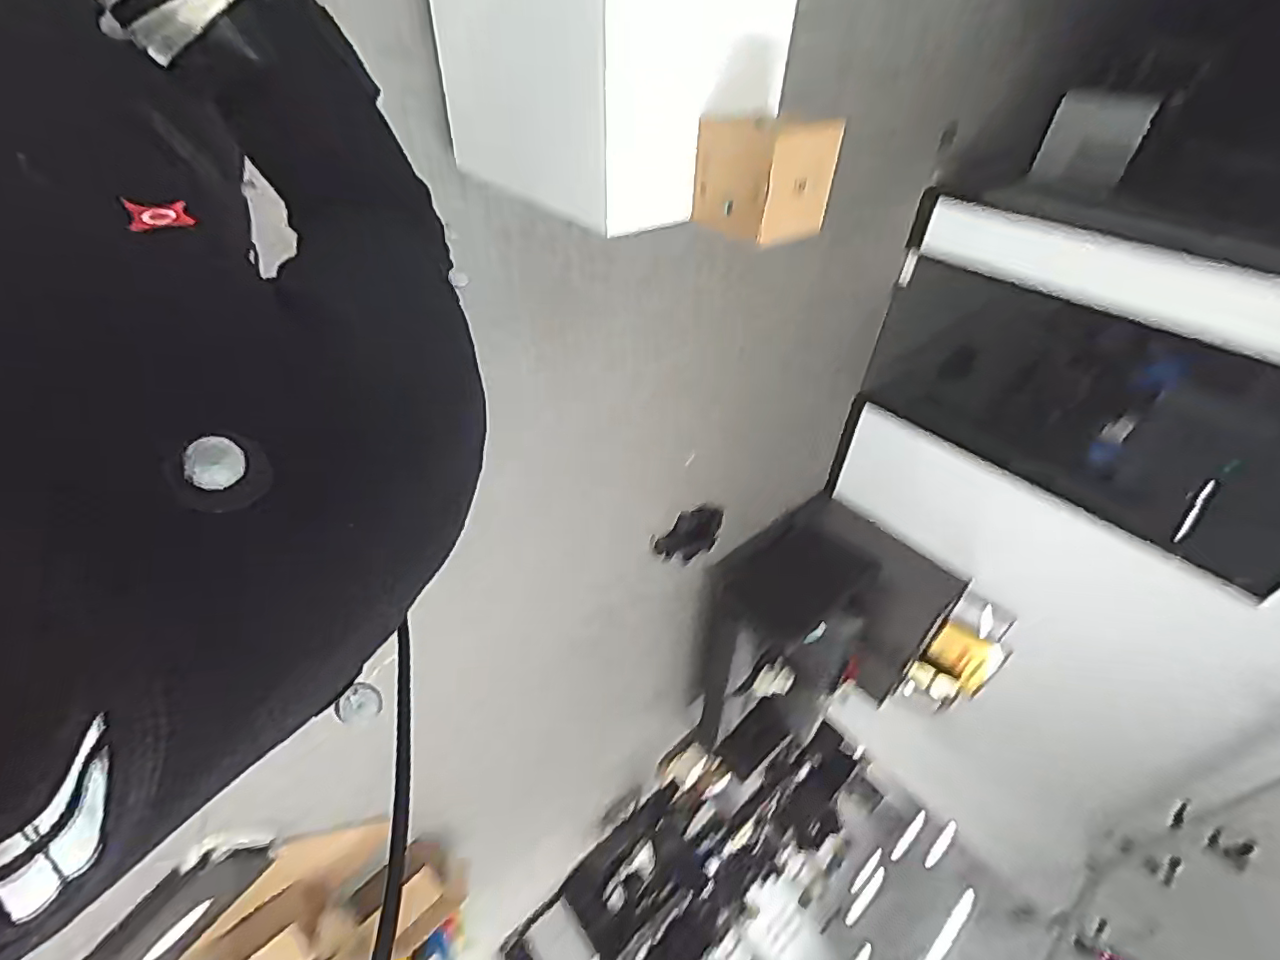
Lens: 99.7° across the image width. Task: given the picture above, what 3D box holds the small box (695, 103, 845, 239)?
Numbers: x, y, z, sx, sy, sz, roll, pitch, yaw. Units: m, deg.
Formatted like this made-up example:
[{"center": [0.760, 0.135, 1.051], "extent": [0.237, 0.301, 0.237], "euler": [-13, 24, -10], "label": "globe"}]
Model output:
[{"center": [0.214, -0.536, 0.932], "extent": [0.179, 0.176, 0.168], "euler": [-29, 141, -30], "label": "small box"}]
